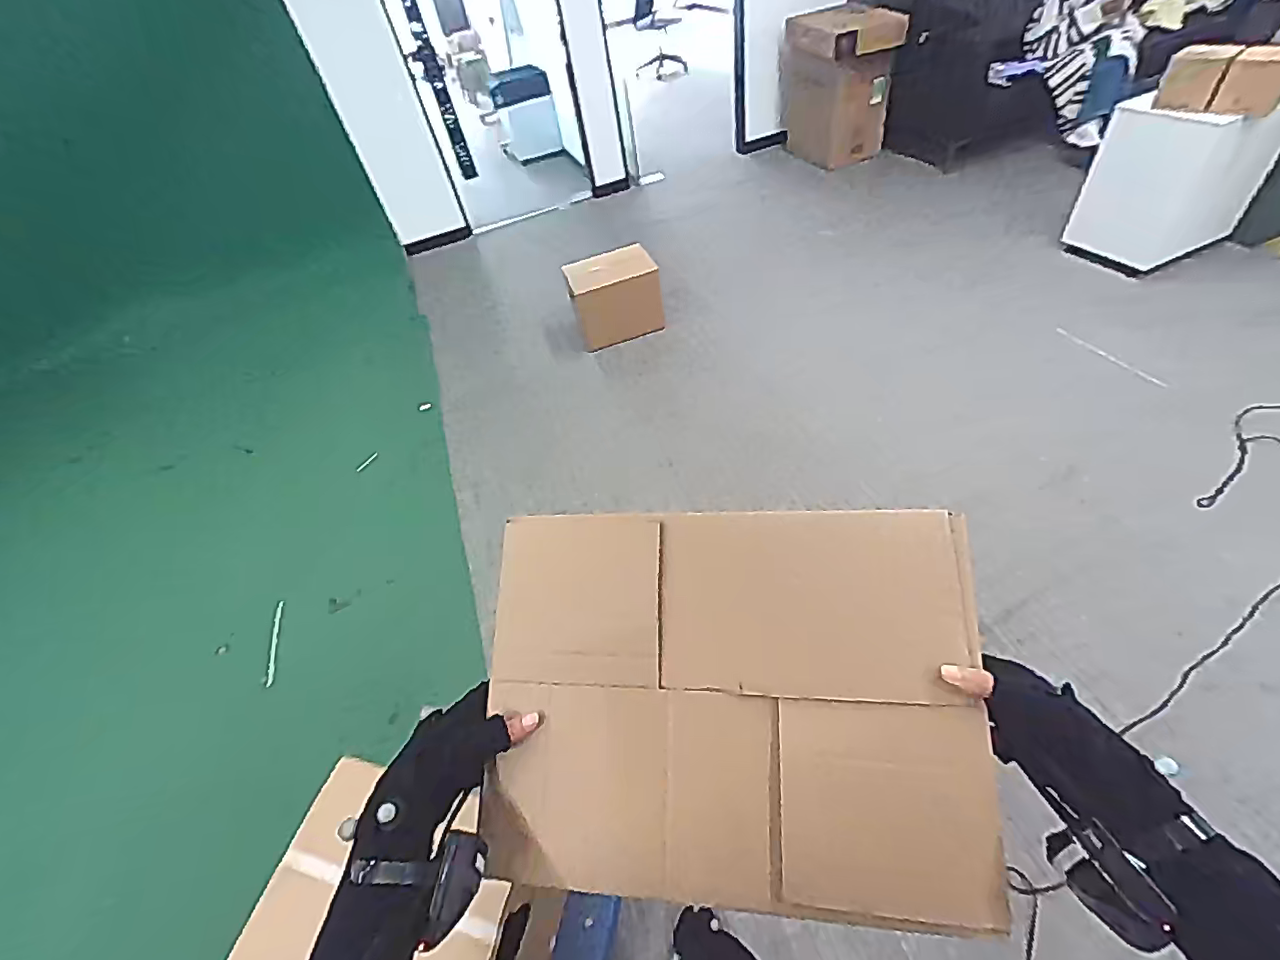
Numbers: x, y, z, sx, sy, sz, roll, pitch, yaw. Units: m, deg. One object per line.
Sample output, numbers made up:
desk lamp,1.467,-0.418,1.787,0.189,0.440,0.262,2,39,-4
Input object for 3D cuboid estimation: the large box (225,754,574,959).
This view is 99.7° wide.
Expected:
large box,-0.379,0.735,0.957,0.408,0.320,0.320,7,50,16
